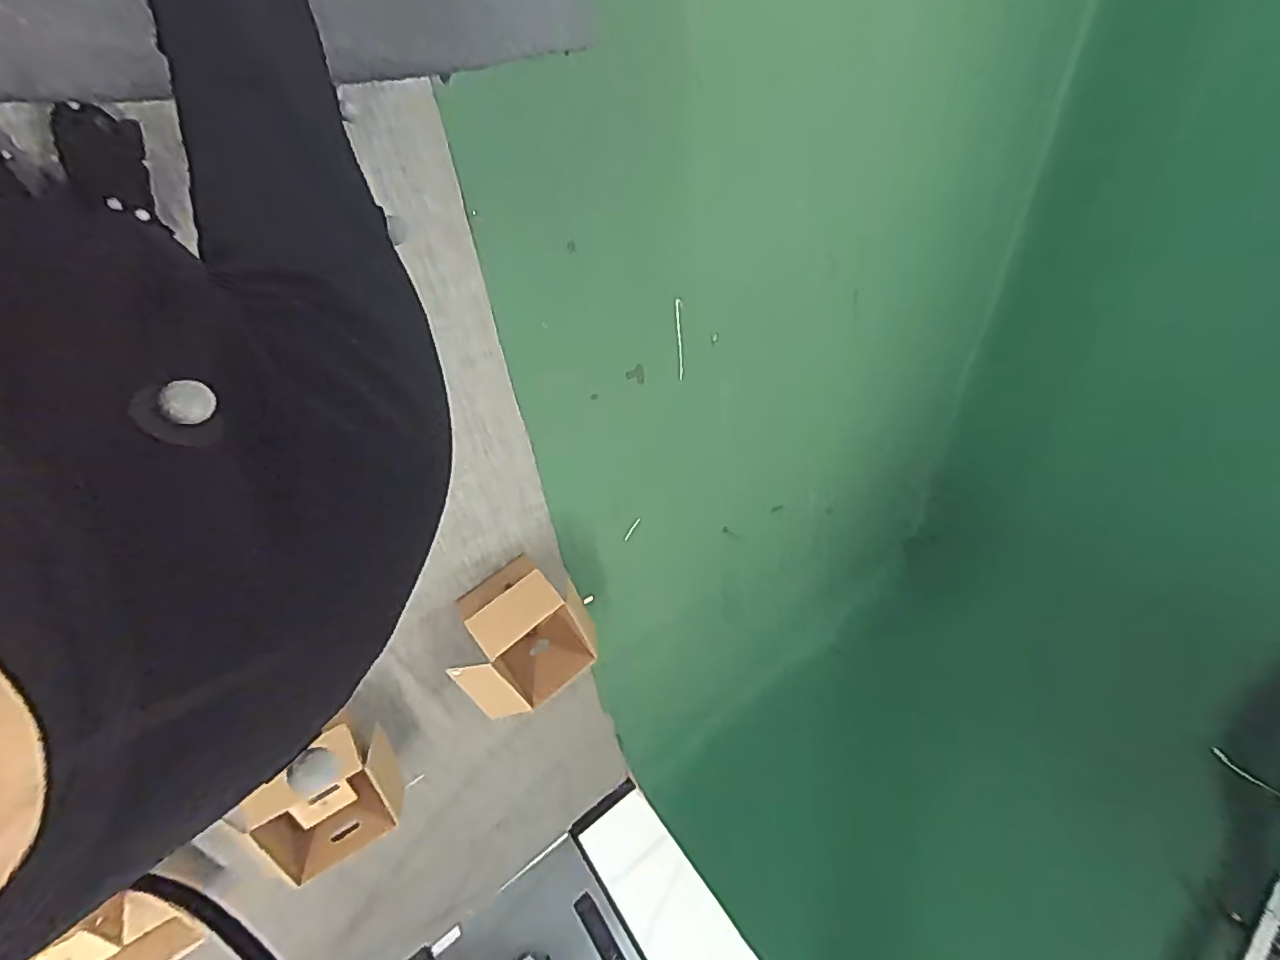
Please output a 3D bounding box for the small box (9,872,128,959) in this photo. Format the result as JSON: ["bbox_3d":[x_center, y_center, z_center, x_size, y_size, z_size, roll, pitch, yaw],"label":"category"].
[{"bbox_3d":[-1.571,1.240,1.499,0.168,0.176,0.179,-24,132,-26],"label":"small box"}]
